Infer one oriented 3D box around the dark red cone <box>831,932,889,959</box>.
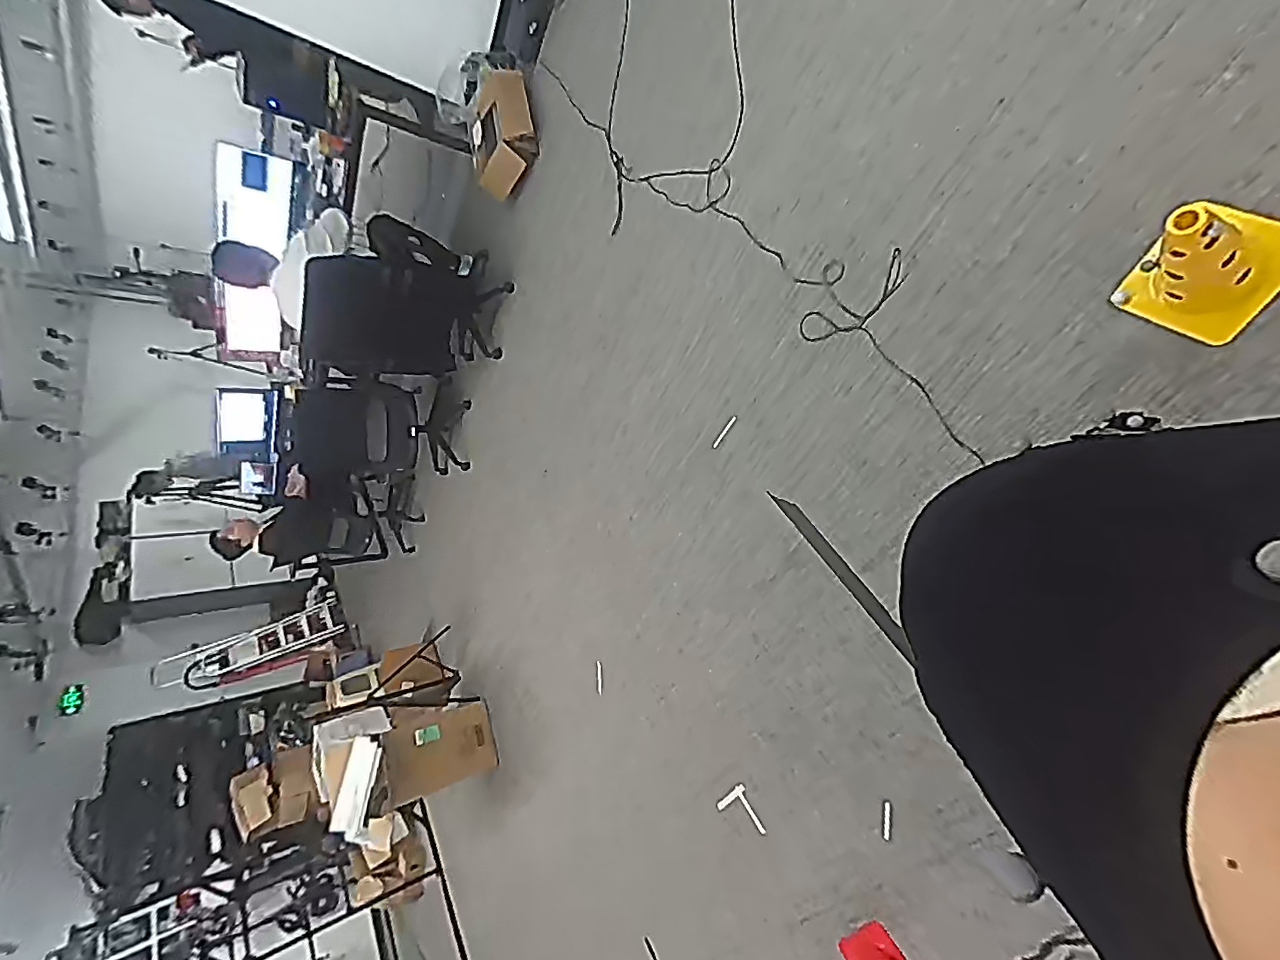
[{"bbox_3d":[0.510,1.361,1.349,0.202,0.394,0.201,49,126,36],"label":"dark red cone"}]
